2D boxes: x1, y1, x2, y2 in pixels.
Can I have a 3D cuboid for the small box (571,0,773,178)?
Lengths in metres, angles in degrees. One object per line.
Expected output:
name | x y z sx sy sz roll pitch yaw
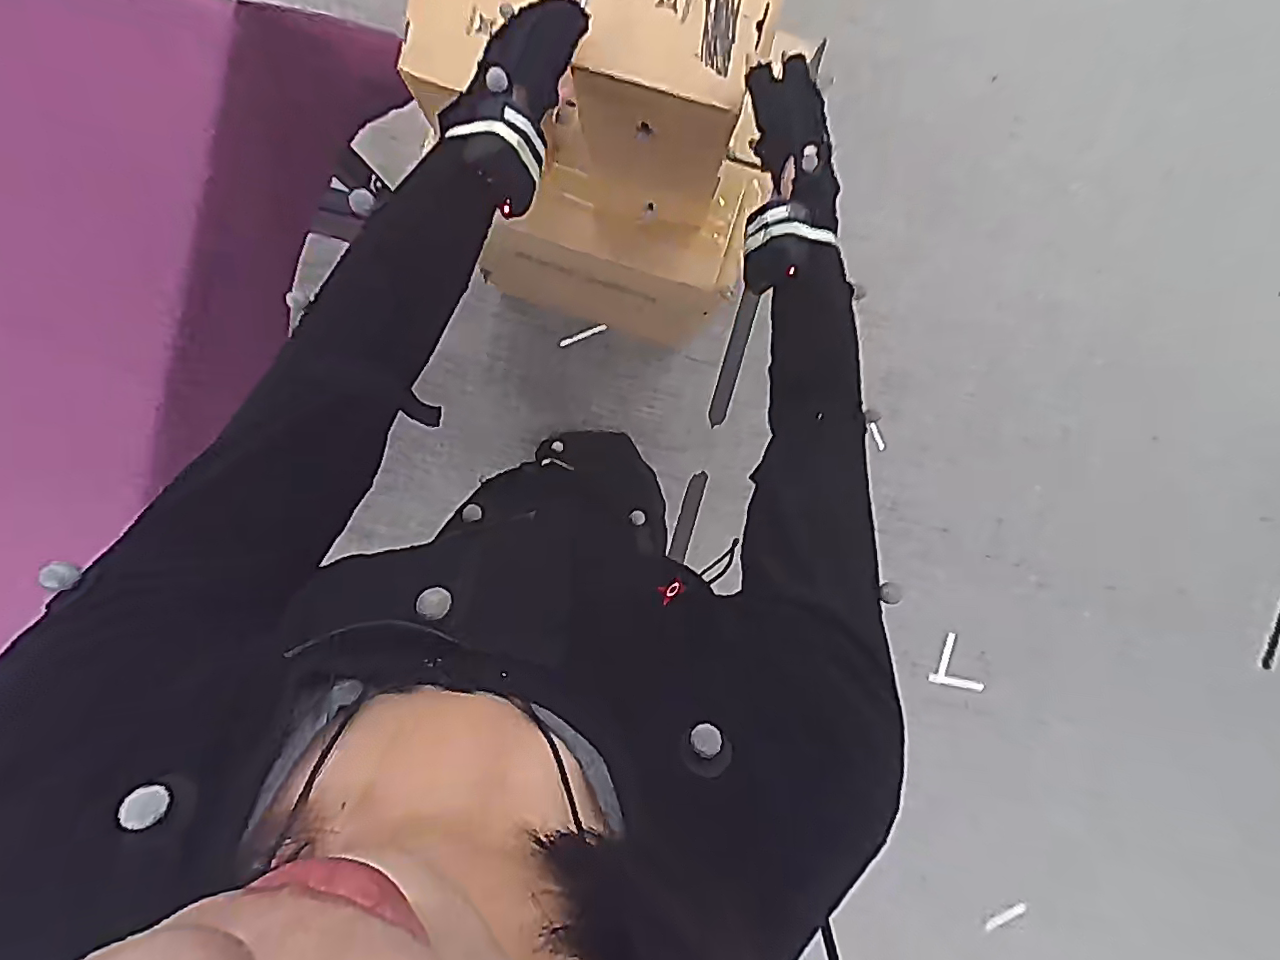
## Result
small box | 0.035 -0.468 0.601 0.179 0.176 0.168 15 95 -2

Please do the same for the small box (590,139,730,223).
small box | 0.031 -0.486 0.765 0.179 0.176 0.168 9 95 -3
